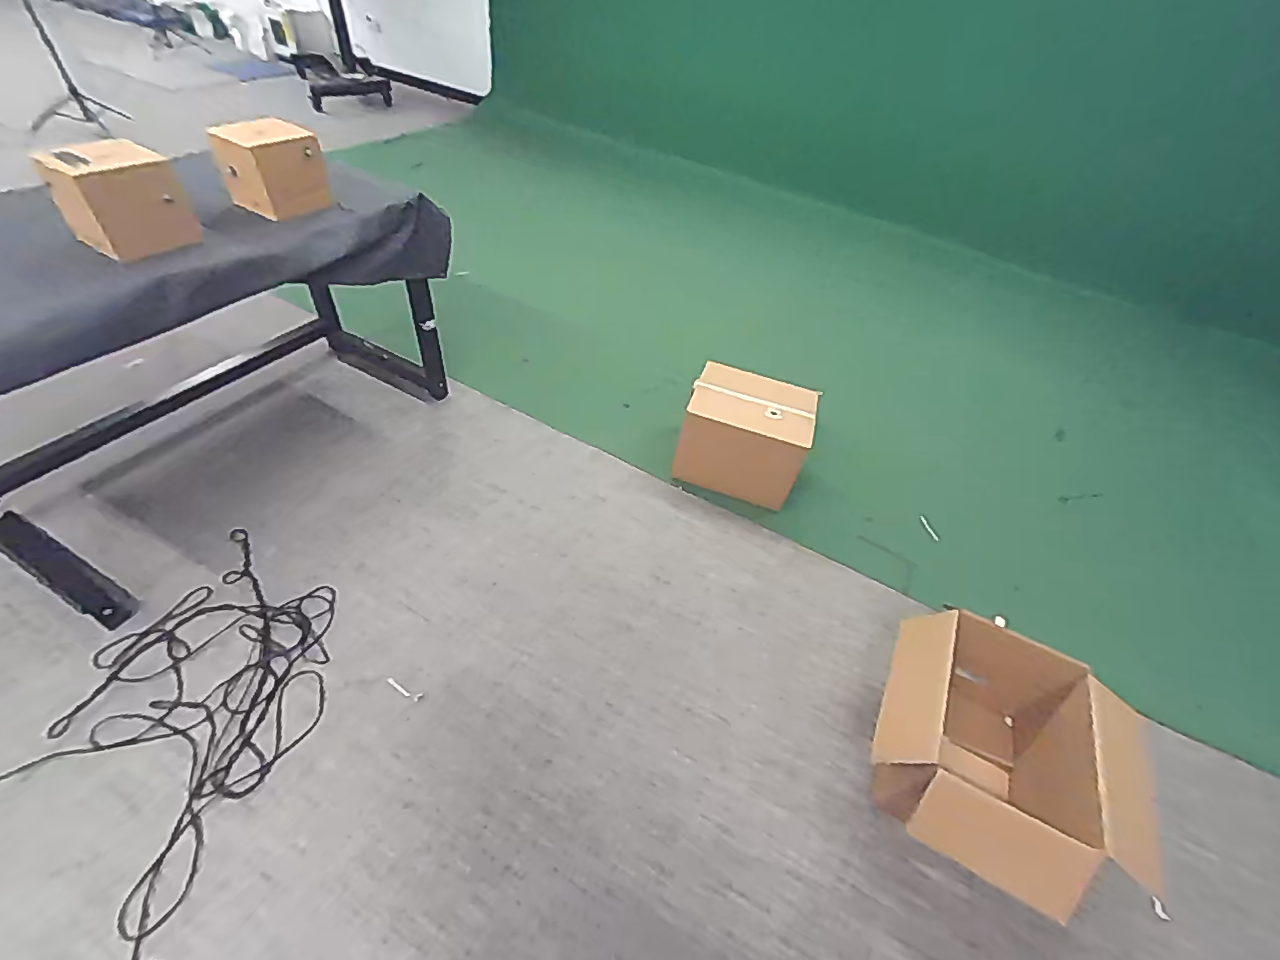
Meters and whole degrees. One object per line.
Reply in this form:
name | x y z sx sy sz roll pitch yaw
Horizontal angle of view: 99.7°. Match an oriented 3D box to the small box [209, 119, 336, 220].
small box | -0.901 -0.771 1.346 0.168 0.176 0.179 27 49 17
